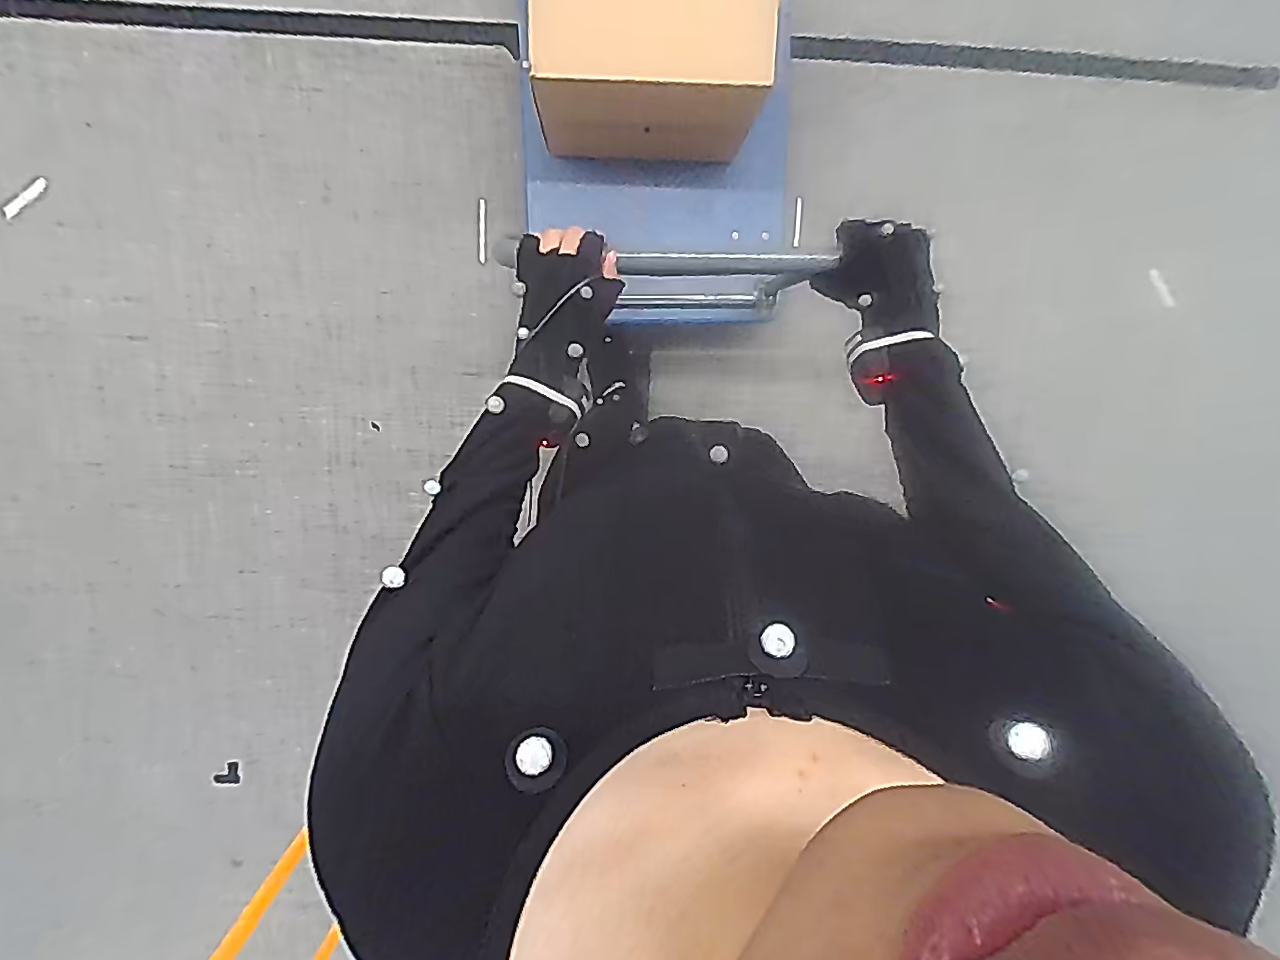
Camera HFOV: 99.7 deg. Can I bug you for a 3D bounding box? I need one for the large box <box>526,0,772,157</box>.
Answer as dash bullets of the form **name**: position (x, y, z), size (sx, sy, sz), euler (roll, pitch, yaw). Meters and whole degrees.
- **large box**: position (0.011, -0.829, 1.010), size (0.408, 0.320, 0.320), euler (0, 100, -3)
